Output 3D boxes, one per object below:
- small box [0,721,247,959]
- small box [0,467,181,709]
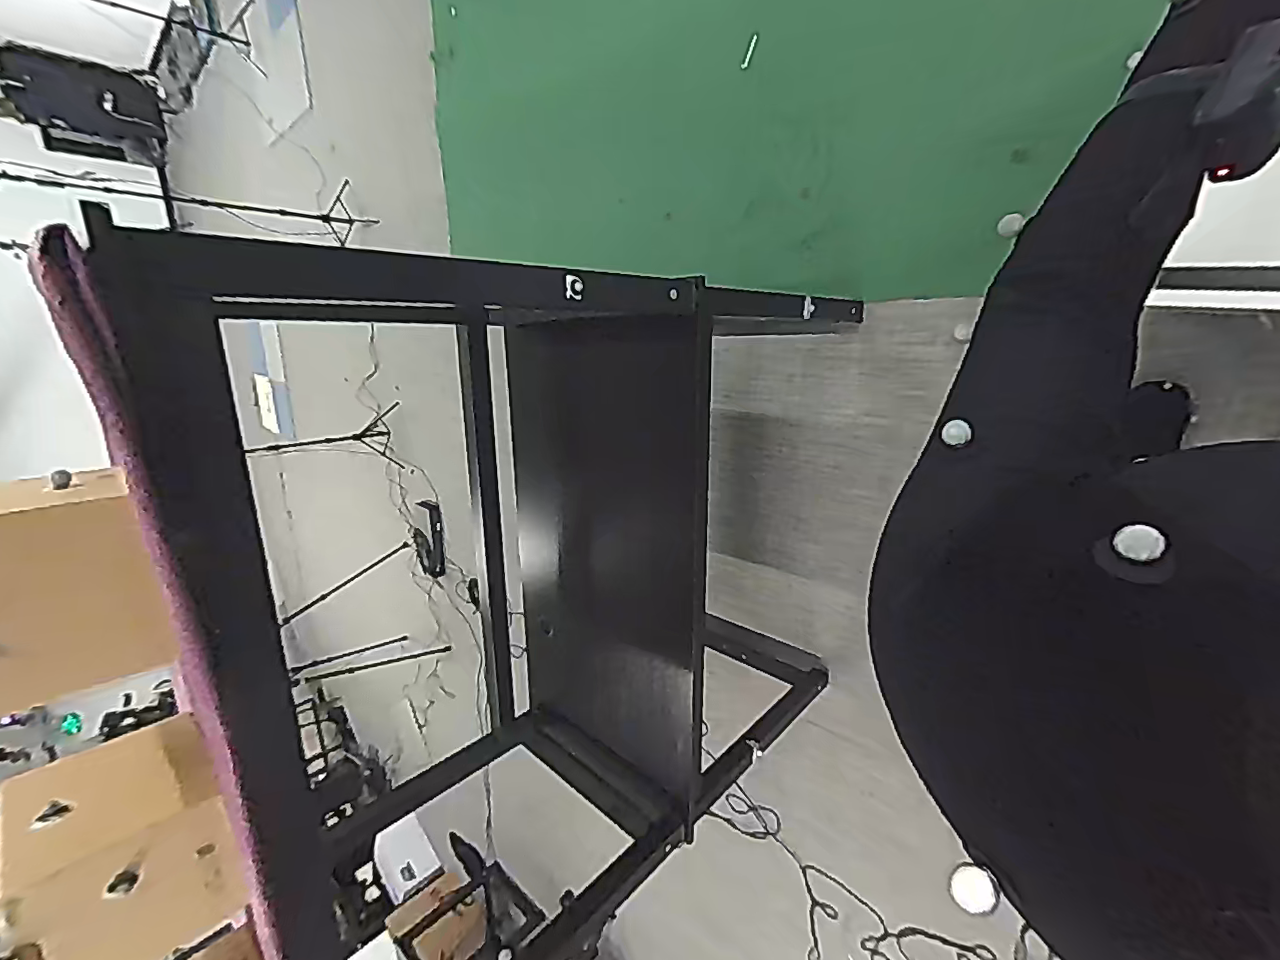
[{"bbox_3d":[-0.551,0.400,0.588,0.179,0.176,0.168,17,112,41],"label":"small box"},{"bbox_3d":[-0.566,0.097,0.514,0.168,0.176,0.179,13,110,44],"label":"small box"}]
